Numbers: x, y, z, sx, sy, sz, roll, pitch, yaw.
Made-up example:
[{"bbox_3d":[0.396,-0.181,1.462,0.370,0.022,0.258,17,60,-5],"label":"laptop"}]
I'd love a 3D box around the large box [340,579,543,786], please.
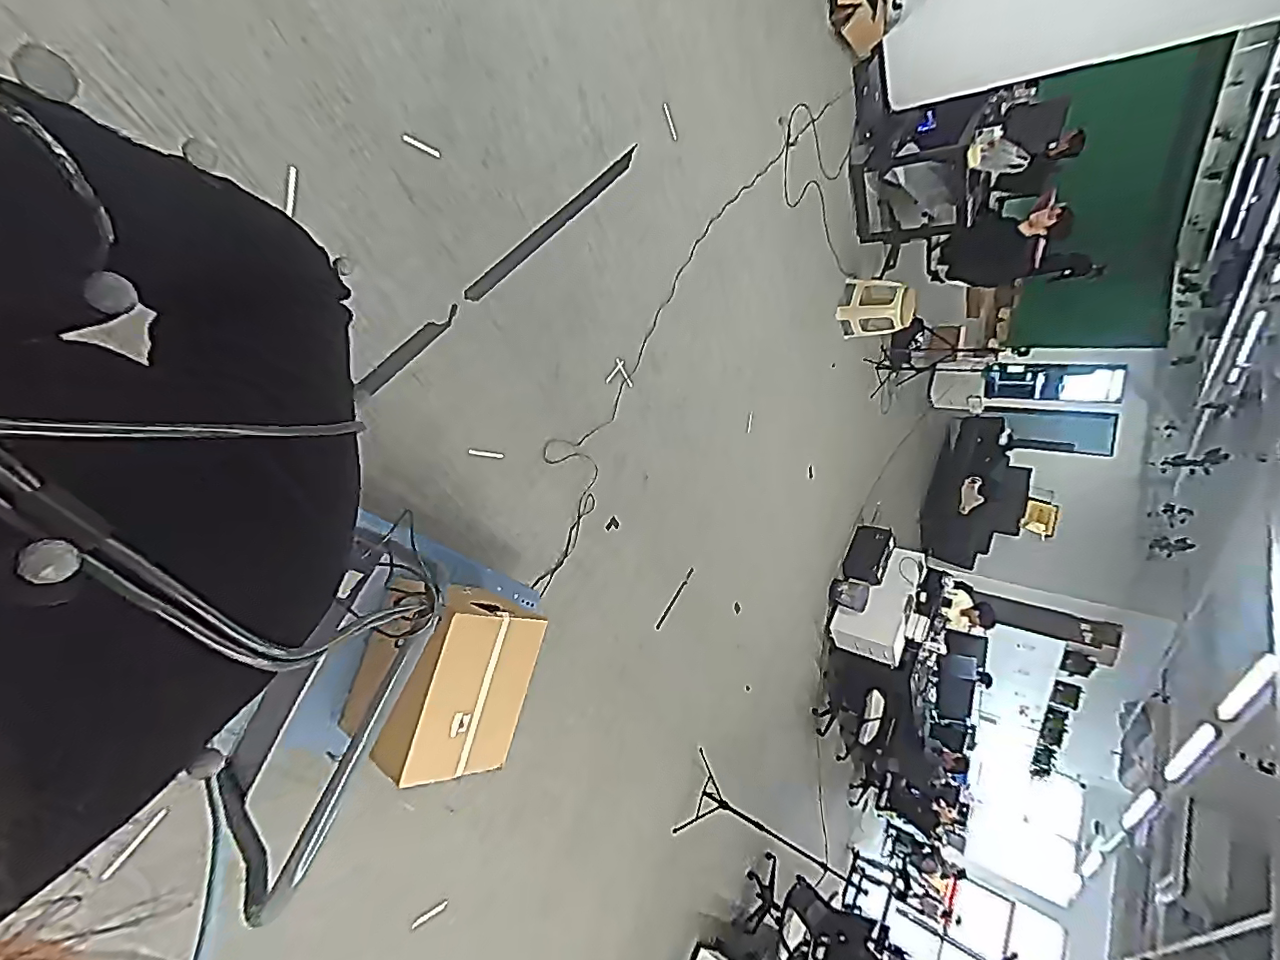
[{"bbox_3d":[-0.517,0.504,1.426,0.320,0.320,0.408,25,80,-51],"label":"large box"}]
